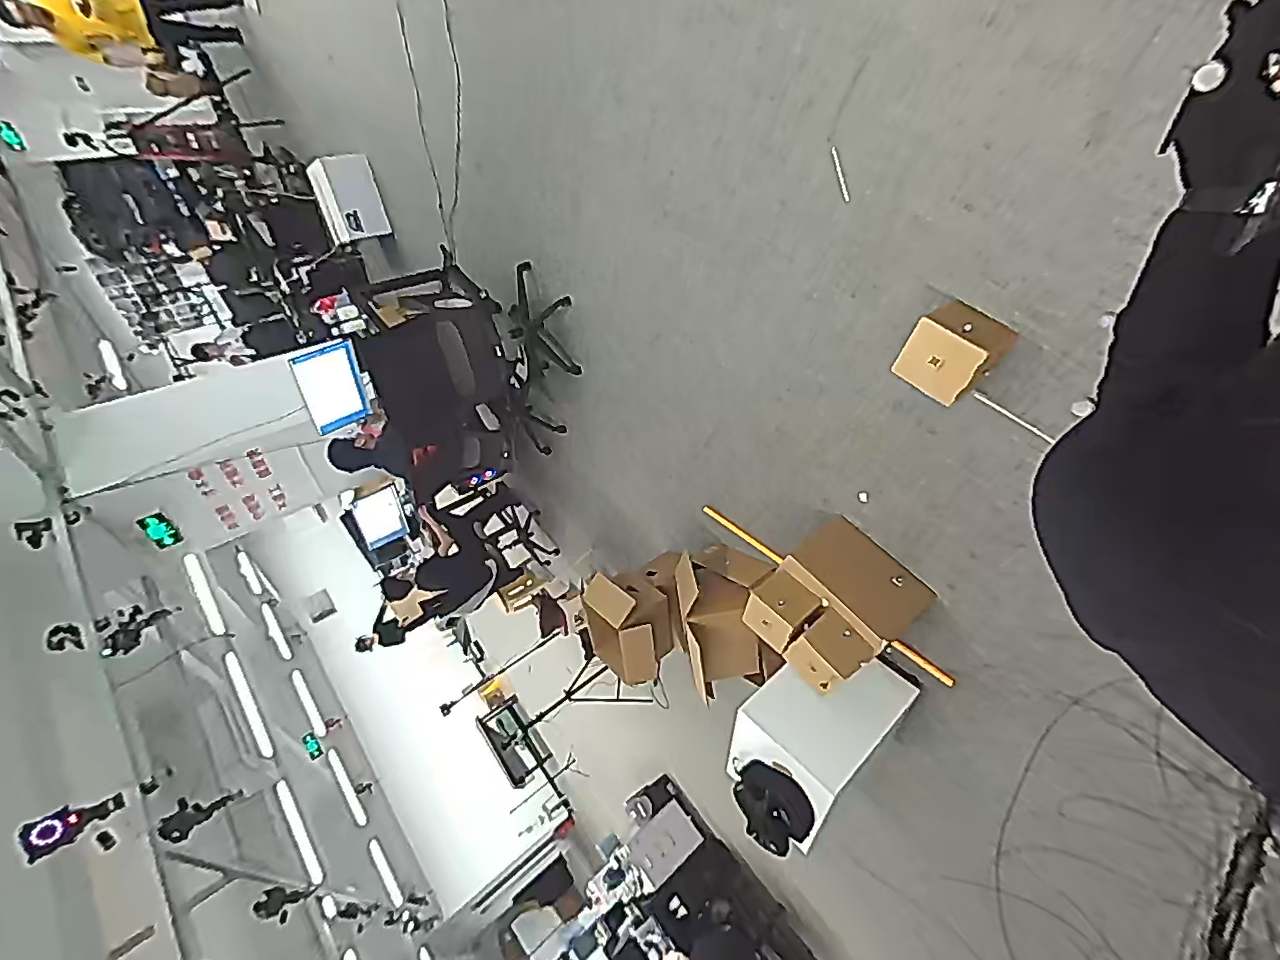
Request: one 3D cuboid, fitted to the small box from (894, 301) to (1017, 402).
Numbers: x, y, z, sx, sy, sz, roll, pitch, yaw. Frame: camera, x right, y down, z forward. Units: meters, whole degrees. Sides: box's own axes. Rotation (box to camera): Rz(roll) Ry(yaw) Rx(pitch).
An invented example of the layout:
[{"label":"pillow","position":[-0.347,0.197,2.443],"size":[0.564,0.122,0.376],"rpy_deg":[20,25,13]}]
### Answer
[{"label":"small box","position":[0.786,-0.329,1.354],"size":[0.179,0.176,0.168],"rpy_deg":[43,146,26]}]
